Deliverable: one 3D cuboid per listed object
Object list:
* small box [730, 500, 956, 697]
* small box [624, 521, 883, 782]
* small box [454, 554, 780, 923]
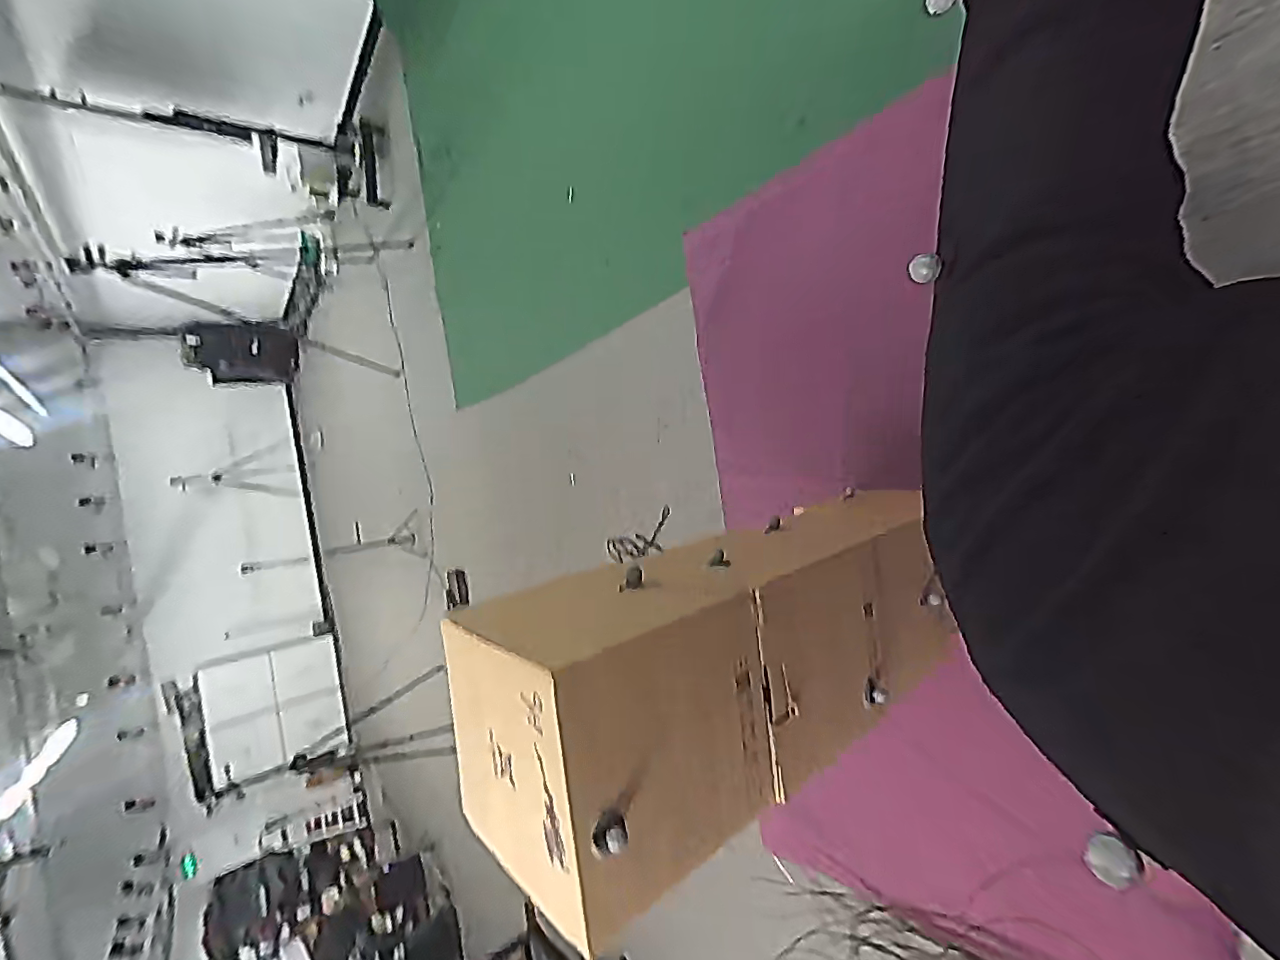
[{"bbox_3d":[0.229,0.117,0.617,0.179,0.176,0.168,-5,95,51],"label":"small box"},{"bbox_3d":[0.108,0.135,0.507,0.179,0.176,0.168,-4,95,52],"label":"small box"},{"bbox_3d":[-0.020,0.157,0.408,0.179,0.176,0.168,-1,97,52],"label":"small box"}]
